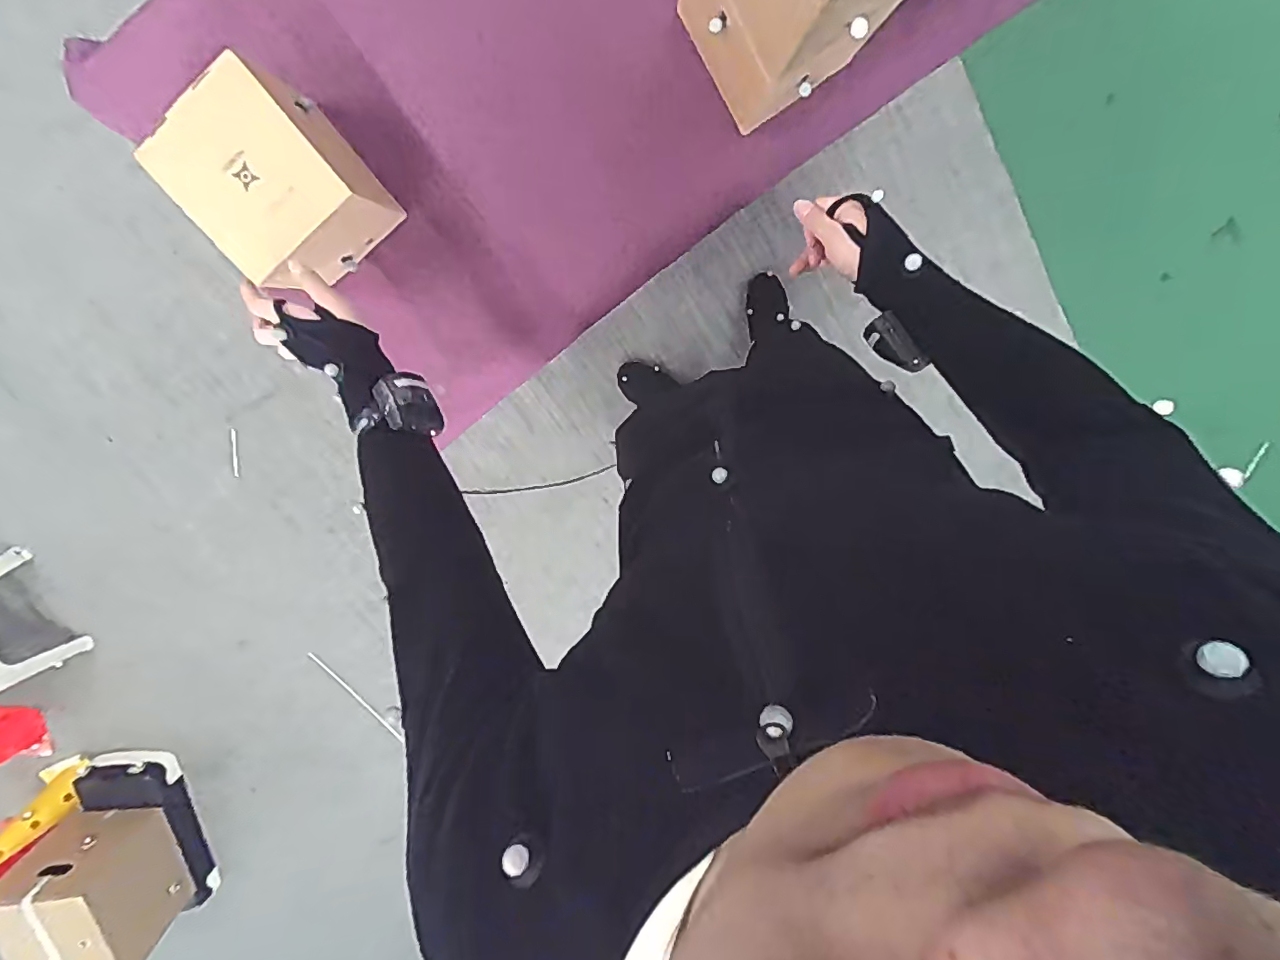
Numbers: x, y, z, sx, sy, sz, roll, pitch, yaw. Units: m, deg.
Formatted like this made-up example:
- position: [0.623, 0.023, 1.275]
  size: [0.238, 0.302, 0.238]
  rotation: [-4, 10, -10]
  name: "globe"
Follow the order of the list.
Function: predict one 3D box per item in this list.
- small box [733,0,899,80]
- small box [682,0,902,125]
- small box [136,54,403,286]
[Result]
- position: [0.164, -0.508, 0.470]
  size: [0.168, 0.176, 0.179]
  rotation: [-31, 105, 9]
  name: "small box"
- position: [0.163, -0.553, 0.628]
  size: [0.168, 0.176, 0.179]
  rotation: [-32, 103, 9]
  name: "small box"
- position: [-0.442, -0.363, 0.678]
  size: [0.168, 0.176, 0.179]
  rotation: [-36, 105, 10]
  name: "small box"
